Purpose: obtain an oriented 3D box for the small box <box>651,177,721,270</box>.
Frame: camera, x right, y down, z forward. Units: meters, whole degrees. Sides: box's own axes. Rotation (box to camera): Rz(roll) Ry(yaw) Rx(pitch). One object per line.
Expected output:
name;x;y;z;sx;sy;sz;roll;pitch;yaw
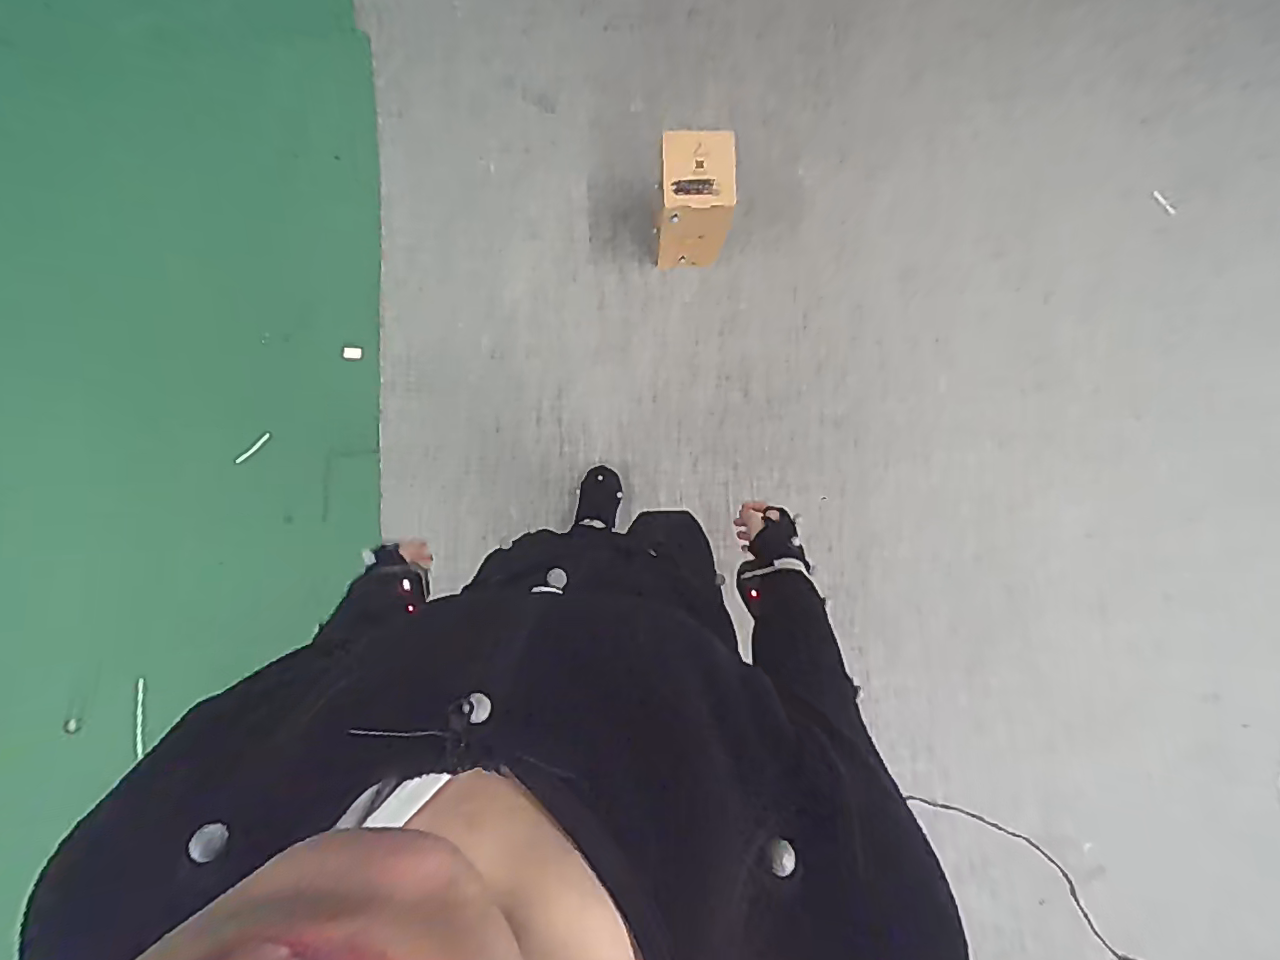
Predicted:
small box;0.120;-0.691;1.470;0.168;0.176;0.179;-2;89;-3
